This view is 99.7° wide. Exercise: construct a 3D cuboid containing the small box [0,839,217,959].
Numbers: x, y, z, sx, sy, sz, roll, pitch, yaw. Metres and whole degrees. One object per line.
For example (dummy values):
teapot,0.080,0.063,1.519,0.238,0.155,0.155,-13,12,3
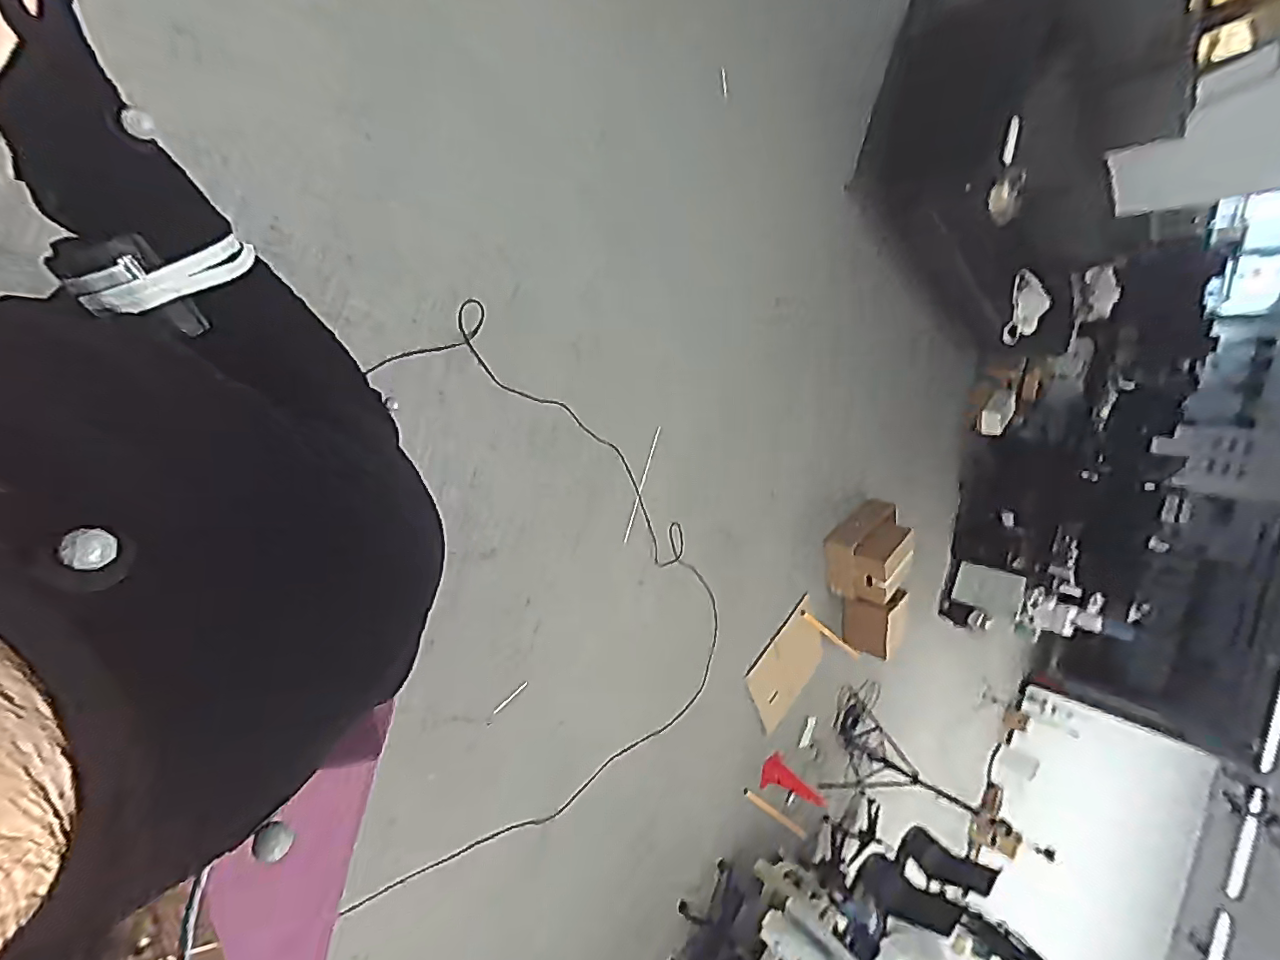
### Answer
small box,-0.589,0.540,0.582,0.168,0.176,0.179,18,89,-45
